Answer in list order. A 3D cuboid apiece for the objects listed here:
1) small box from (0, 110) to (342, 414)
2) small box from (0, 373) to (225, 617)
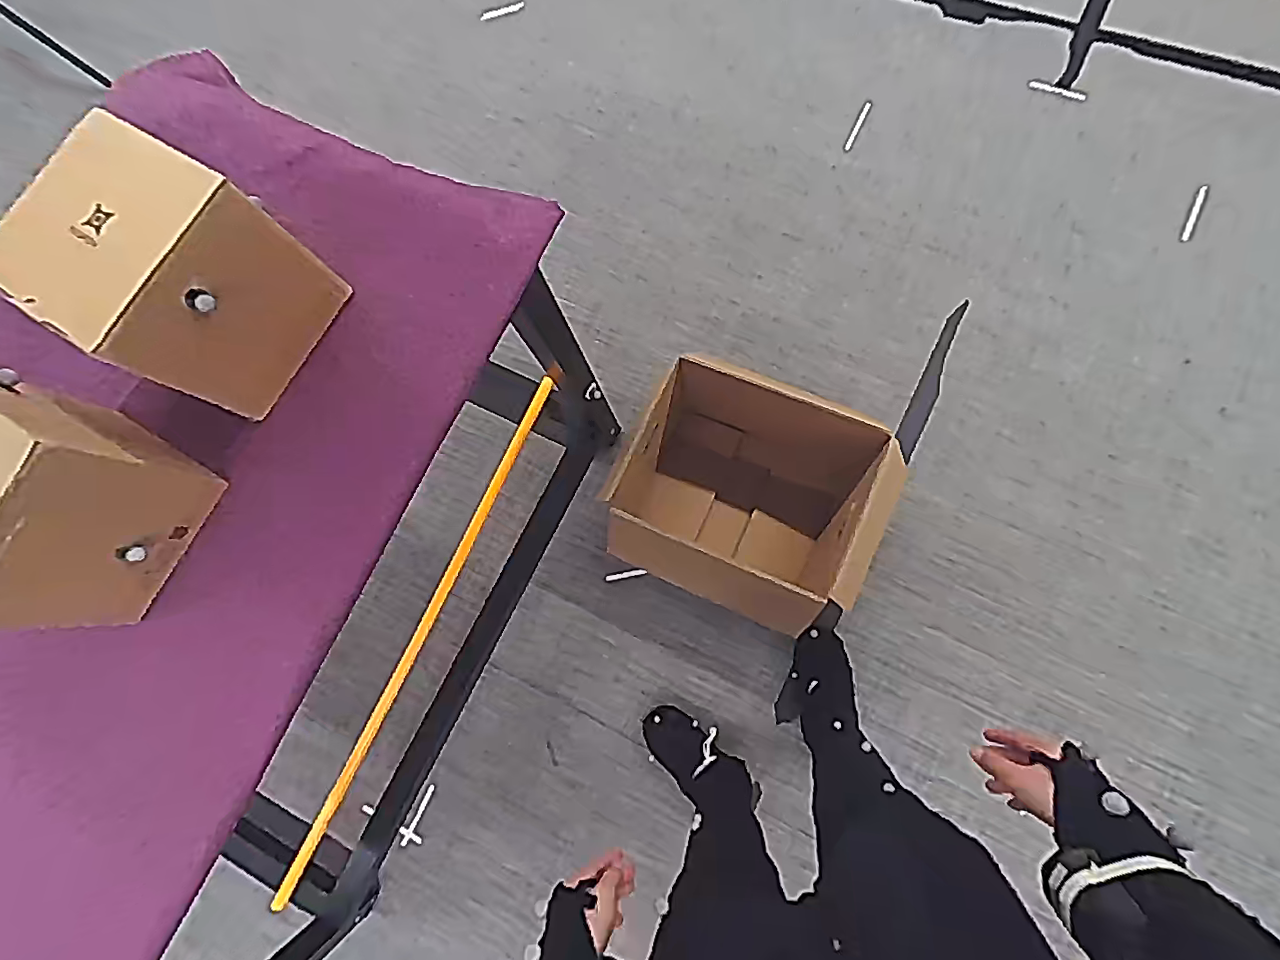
[{"bbox_3d":[-0.430,-0.193,0.521,0.168,0.176,0.179,30,84,12],"label":"small box"},{"bbox_3d":[-0.545,0.016,0.489,0.179,0.176,0.168,28,83,11],"label":"small box"}]
